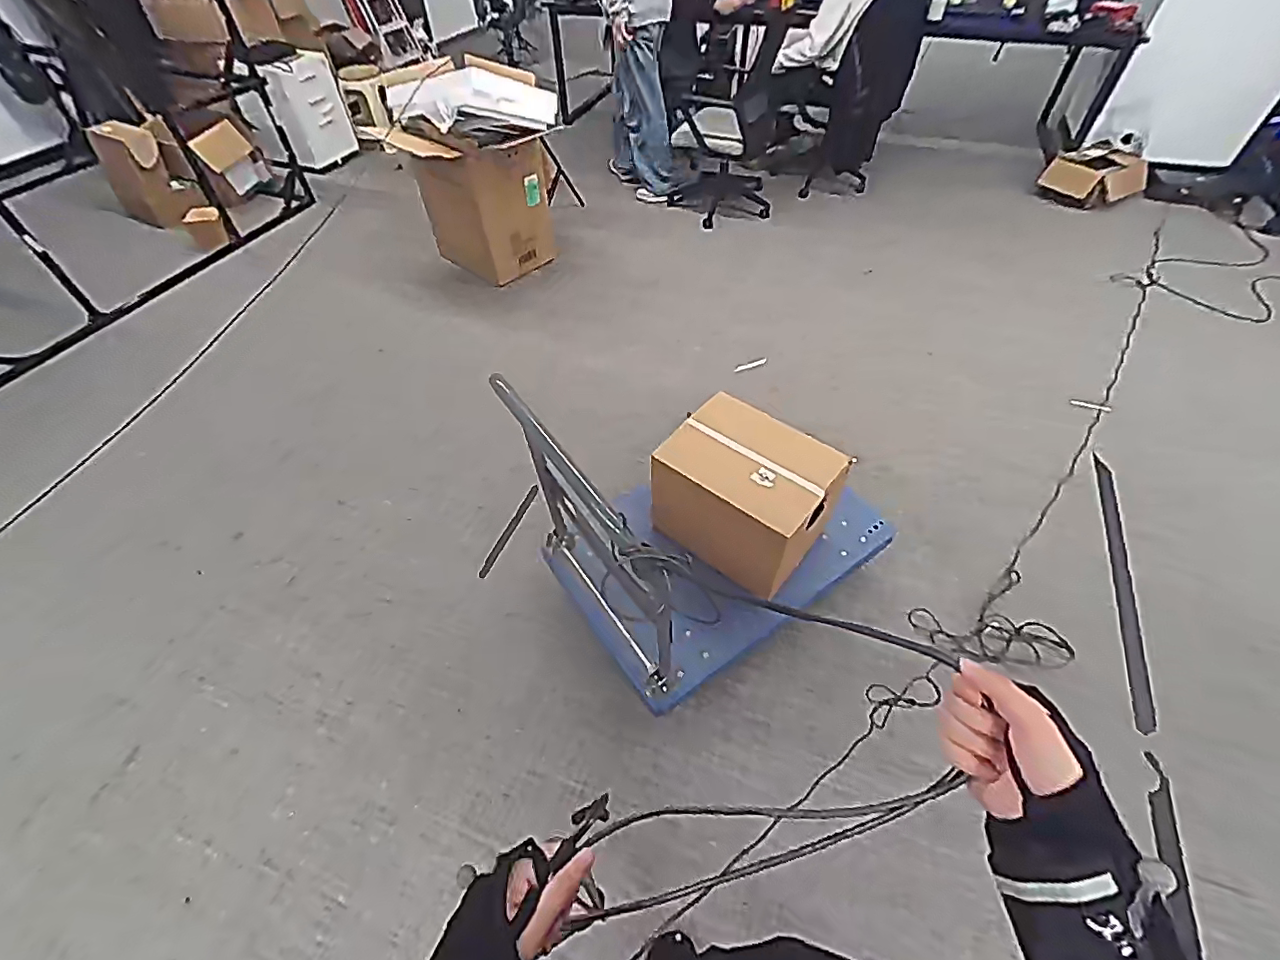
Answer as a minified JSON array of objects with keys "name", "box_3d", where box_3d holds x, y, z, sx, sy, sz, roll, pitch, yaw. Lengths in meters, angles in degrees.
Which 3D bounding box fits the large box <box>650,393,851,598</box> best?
[{"name":"large box","box_3d":[0.274,0.036,1.457,0.408,0.320,0.320,33,59,24]}]
